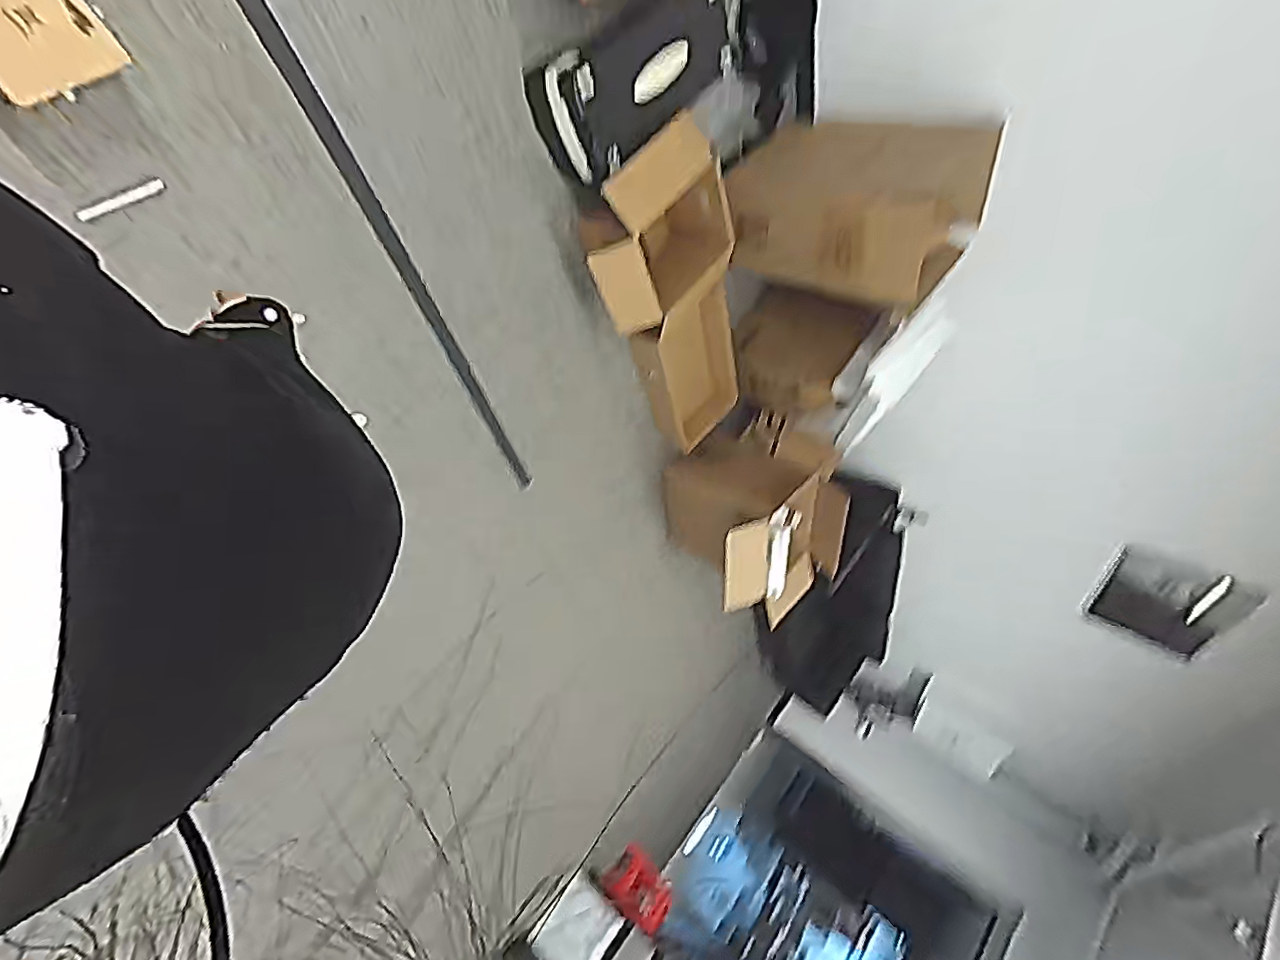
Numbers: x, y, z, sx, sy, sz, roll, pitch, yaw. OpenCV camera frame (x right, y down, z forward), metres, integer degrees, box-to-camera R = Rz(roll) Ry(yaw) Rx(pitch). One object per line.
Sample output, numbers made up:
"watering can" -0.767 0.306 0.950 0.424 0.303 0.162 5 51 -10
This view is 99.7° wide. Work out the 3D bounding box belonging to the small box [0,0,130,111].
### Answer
"small box" -0.951 -0.692 0.831 0.179 0.176 0.168 -45 141 -20
